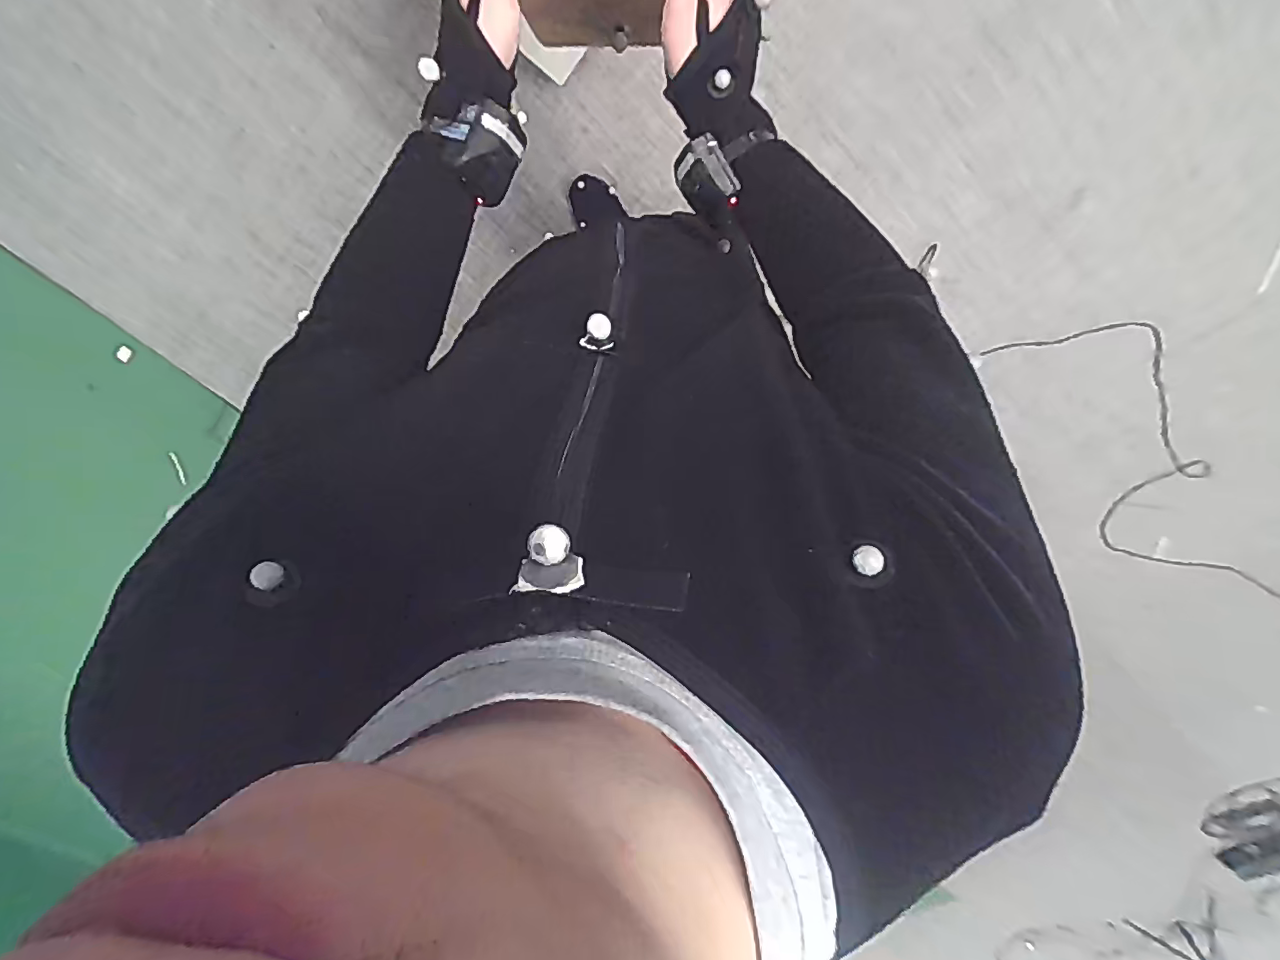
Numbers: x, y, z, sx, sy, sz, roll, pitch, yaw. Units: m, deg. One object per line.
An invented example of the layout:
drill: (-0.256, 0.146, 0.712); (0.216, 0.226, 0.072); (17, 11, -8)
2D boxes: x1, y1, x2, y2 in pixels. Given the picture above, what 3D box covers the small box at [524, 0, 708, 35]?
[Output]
small box: (-0.020, -0.502, 0.445); (0.179, 0.176, 0.168); (2, 109, 2)
